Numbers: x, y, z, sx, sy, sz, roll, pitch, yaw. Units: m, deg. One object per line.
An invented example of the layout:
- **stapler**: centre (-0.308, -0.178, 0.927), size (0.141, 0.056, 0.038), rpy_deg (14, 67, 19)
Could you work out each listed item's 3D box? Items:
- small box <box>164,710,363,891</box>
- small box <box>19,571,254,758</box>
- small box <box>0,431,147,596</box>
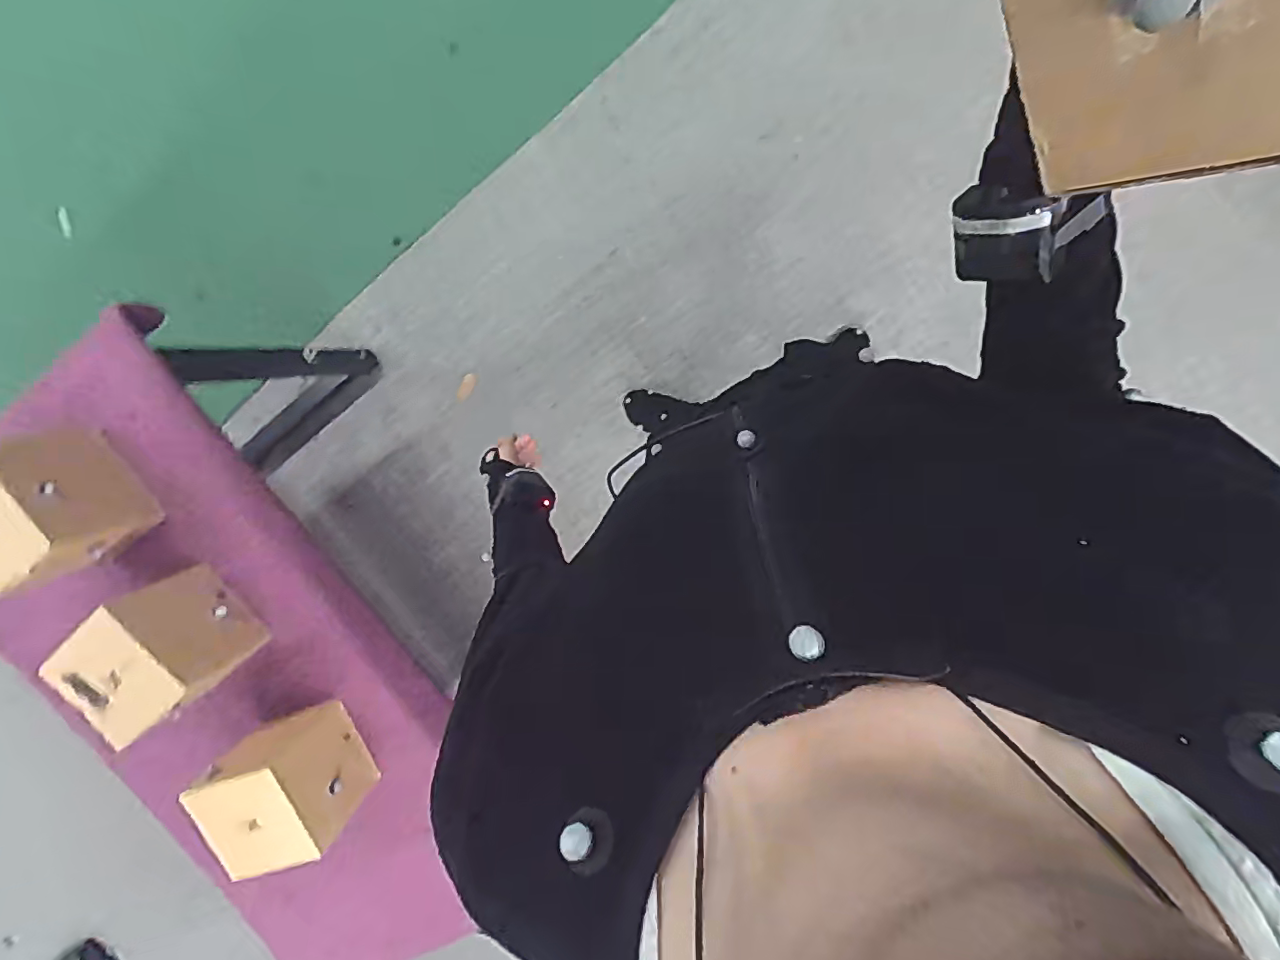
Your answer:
- **small box**: centre (-0.582, 0.503, 0.869), size (0.179, 0.176, 0.168), rpy_deg (-21, 100, 11)
- **small box**: centre (-0.756, 0.273, 0.832), size (0.179, 0.176, 0.168), rpy_deg (-38, 97, 12)
- **small box**: centre (-0.901, 0.047, 0.795), size (0.168, 0.176, 0.179), rpy_deg (-31, 98, 12)
